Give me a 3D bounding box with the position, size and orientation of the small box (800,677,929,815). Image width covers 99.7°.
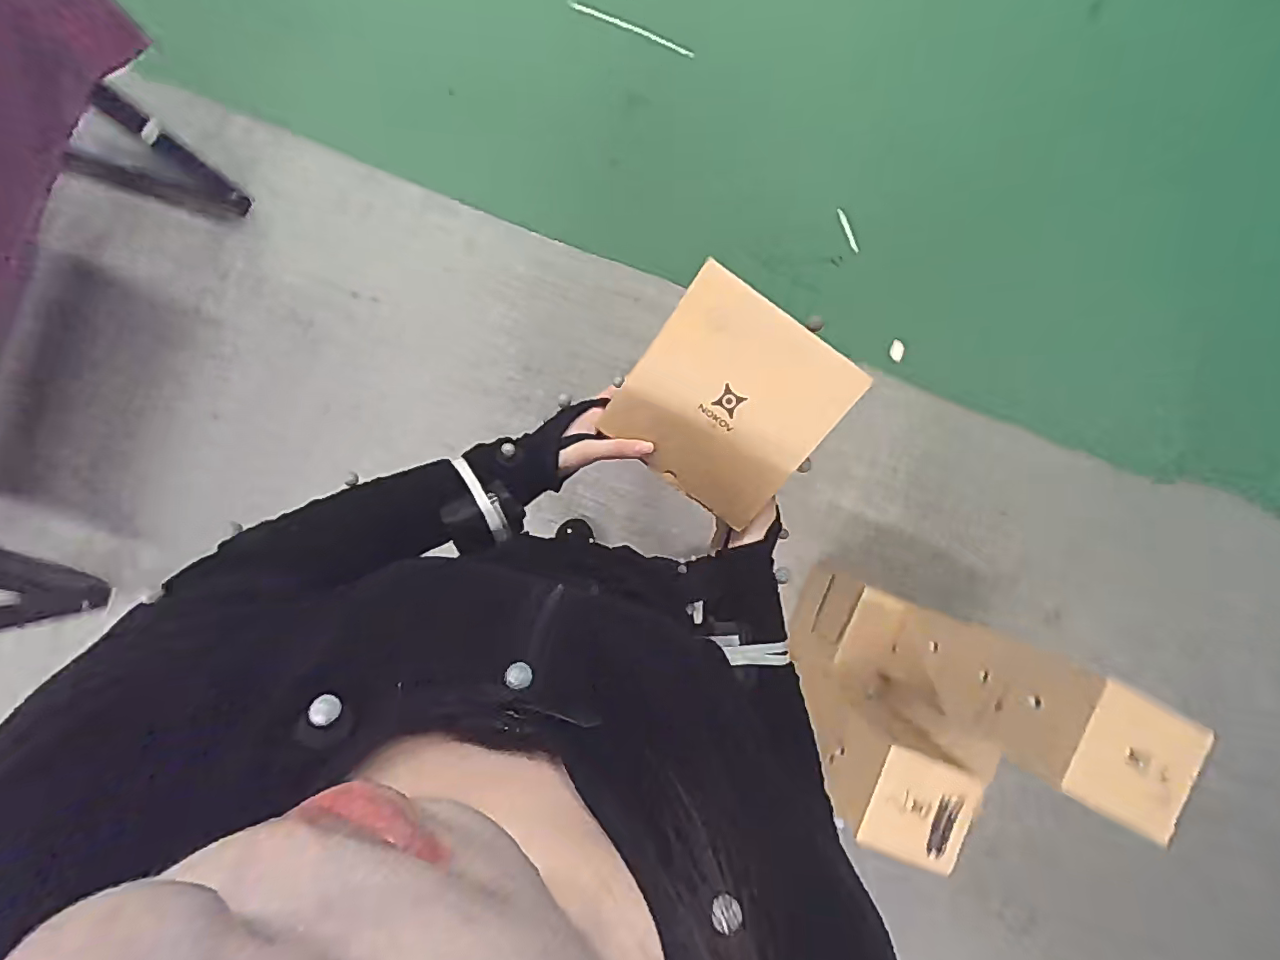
[{"bbox_3d":[0.455,0.544,1.129,0.168,0.176,0.179,22,87,-4],"label":"small box"}]

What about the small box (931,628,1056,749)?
[{"bbox_3d":[0.668,0.388,0.980,0.168,0.176,0.179,23,84,-4],"label":"small box"}]

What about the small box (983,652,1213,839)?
[{"bbox_3d":[0.673,0.383,0.818,0.179,0.176,0.168,29,87,-3],"label":"small box"}]

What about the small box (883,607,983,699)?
[{"bbox_3d":[0.661,0.386,1.148,0.179,0.176,0.168,24,87,-4],"label":"small box"}]
